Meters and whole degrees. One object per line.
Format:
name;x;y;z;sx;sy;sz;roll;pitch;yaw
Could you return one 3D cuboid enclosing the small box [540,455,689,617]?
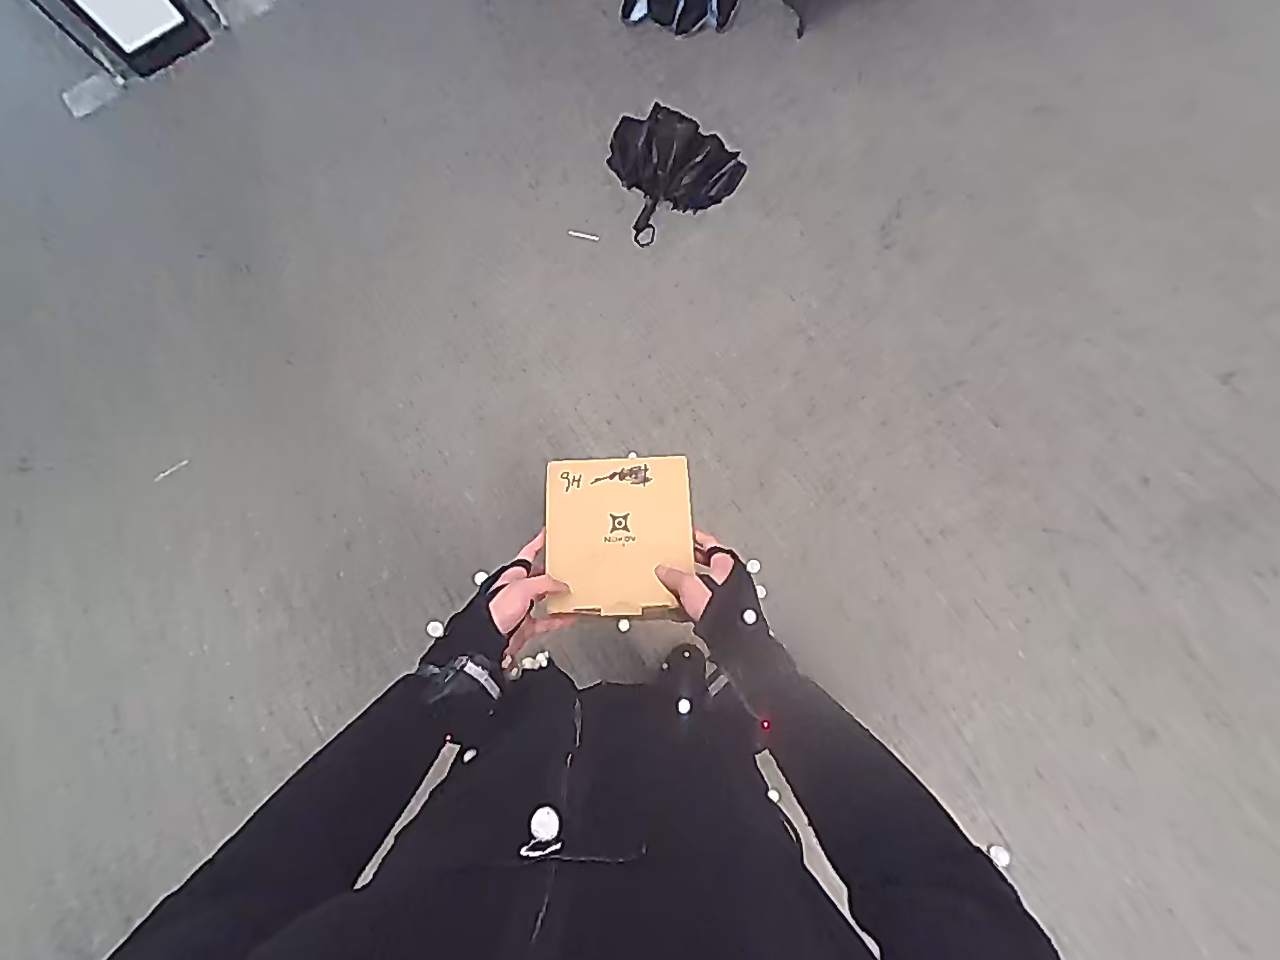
small box;-0.025;0.079;0.680;0.168;0.176;0.179;-2;72;1
